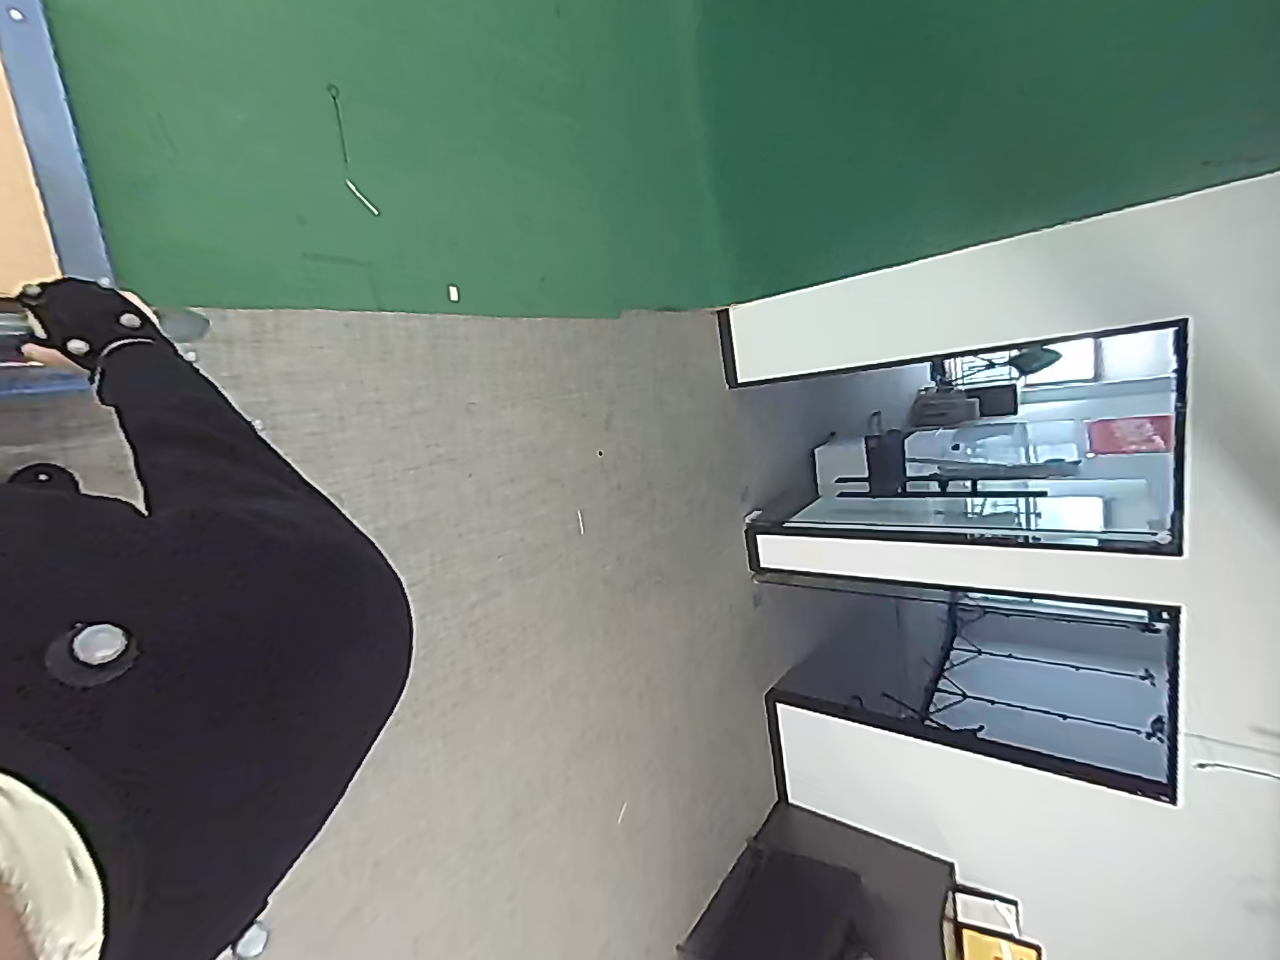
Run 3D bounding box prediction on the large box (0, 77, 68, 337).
[{"bbox_3d":[-1.123,-0.434,0.786,0.320,0.320,0.408,-19,102,-50],"label":"large box"}]
